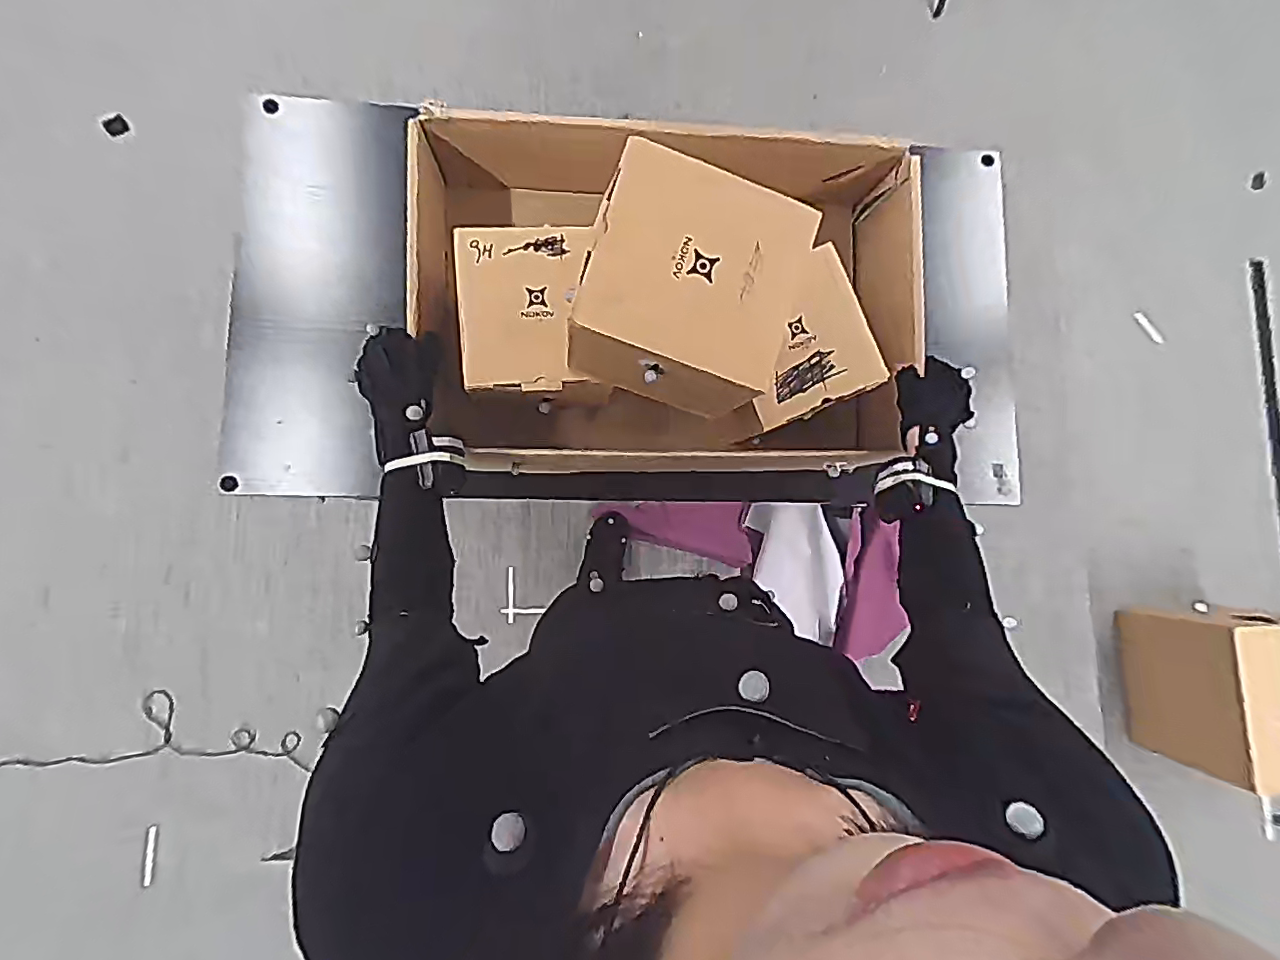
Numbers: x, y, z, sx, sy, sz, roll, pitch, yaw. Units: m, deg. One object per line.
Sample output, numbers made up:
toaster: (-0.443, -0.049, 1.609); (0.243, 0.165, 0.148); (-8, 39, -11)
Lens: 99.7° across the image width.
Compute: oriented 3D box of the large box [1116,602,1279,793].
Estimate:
large box: (1.613, 0.567, 1.488); (0.320, 0.320, 0.408); (-3, 85, -5)
